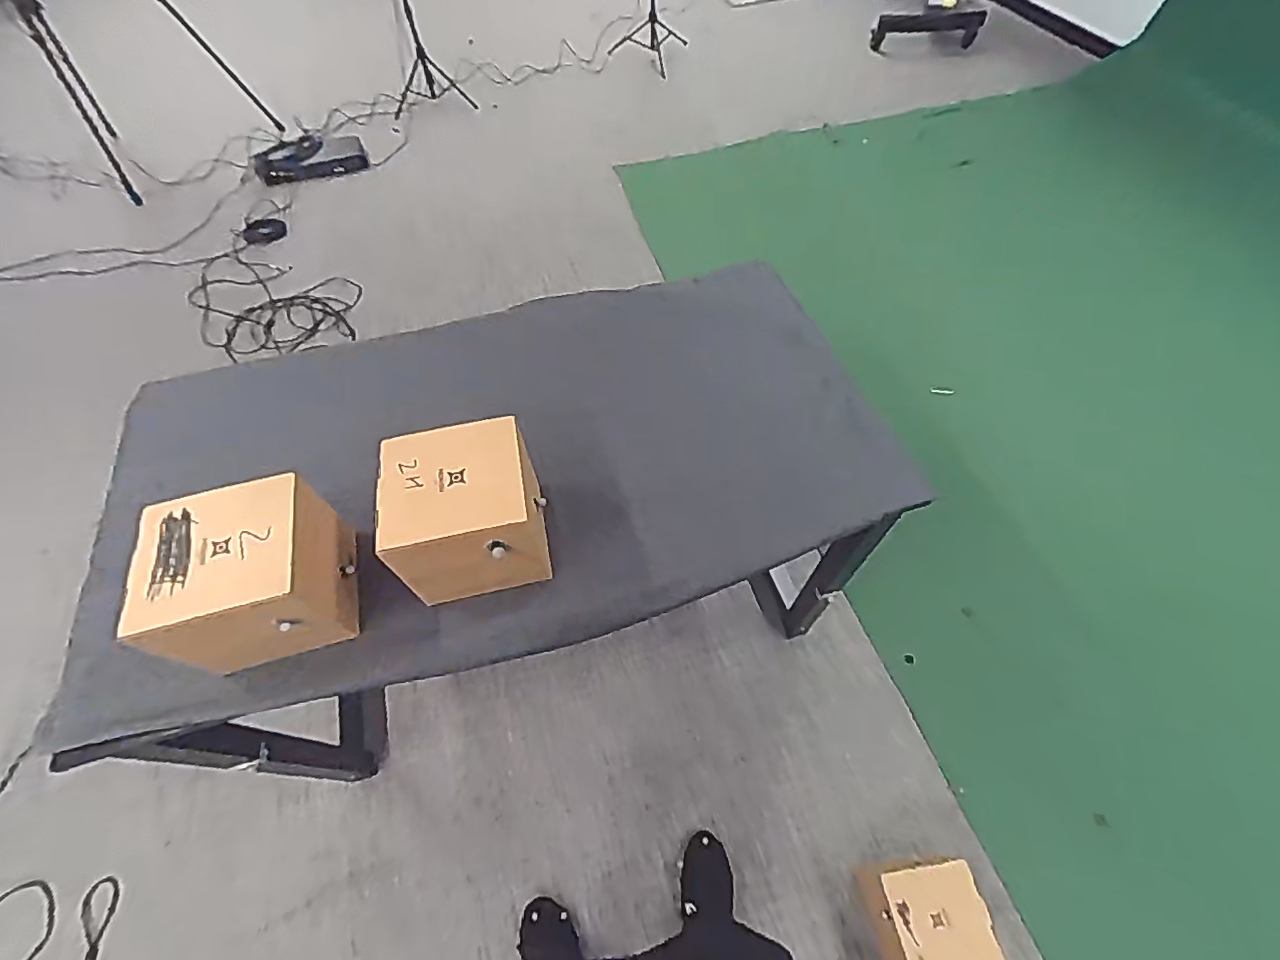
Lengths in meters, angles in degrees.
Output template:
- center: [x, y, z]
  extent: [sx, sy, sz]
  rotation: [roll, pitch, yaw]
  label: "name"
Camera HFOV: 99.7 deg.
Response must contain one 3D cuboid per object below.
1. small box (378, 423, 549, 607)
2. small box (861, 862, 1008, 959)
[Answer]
- center: [-0.224, 0.052, 0.724]
  extent: [0.179, 0.176, 0.168]
  rotation: [-12, 56, -4]
  label: "small box"
- center: [0.562, 0.859, 1.050]
  extent: [0.179, 0.176, 0.168]
  rotation: [-8, 59, -3]
  label: "small box"
